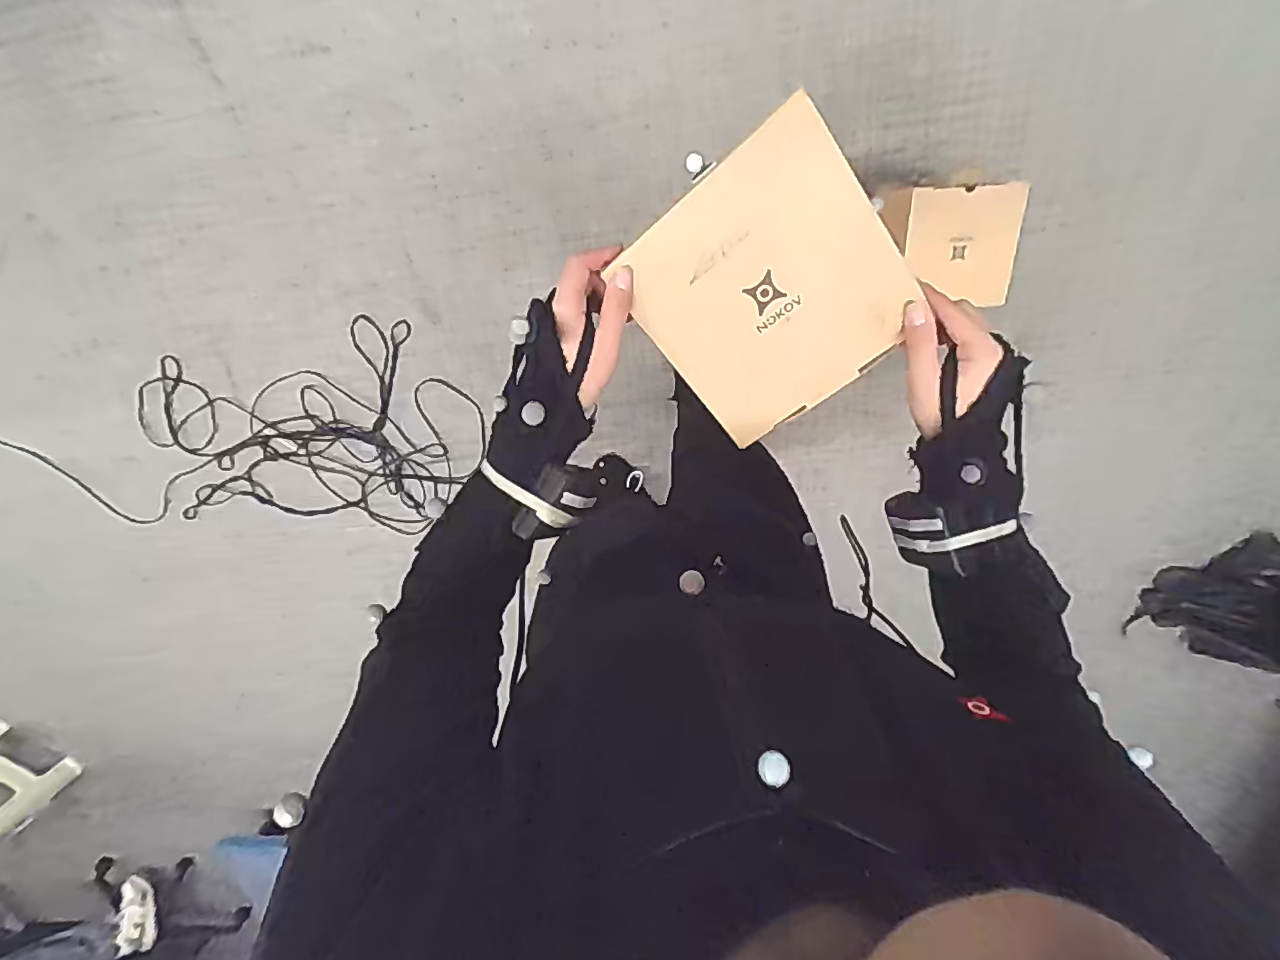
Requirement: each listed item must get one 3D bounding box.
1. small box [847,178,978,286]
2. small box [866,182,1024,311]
[{"bbox_3d":[0.508,-0.466,1.035,0.168,0.176,0.179,-2,114,5],"label":"small box"},{"bbox_3d":[0.486,-0.385,0.895,0.168,0.176,0.179,-2,114,5],"label":"small box"}]
